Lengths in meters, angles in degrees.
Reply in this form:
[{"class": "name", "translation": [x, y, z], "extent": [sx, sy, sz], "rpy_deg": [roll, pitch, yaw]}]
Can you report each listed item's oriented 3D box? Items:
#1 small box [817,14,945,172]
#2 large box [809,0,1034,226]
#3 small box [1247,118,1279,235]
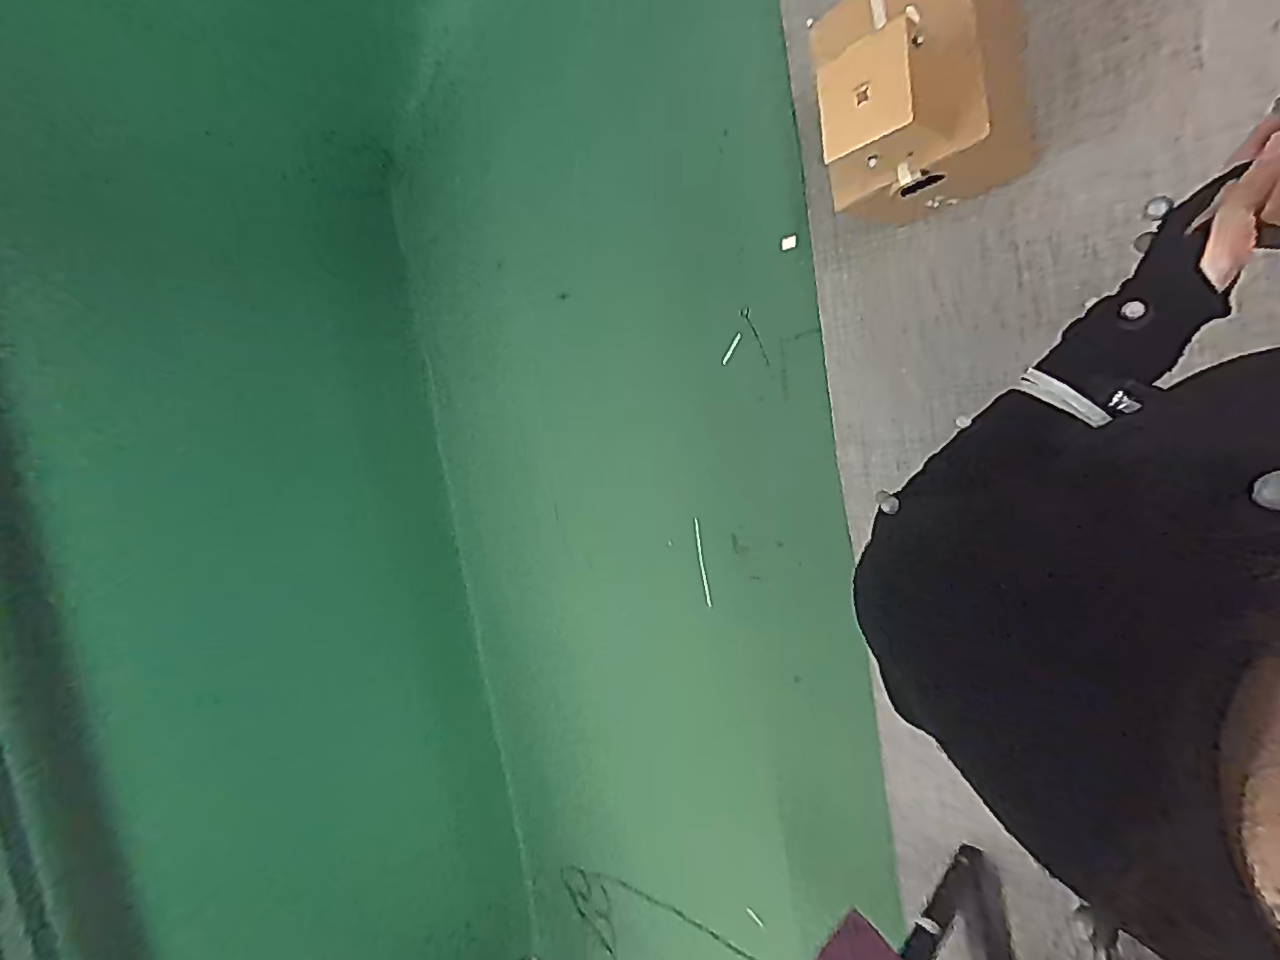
[{"class": "small box", "translation": [0.459, -0.710, 1.023], "extent": [0.168, 0.176, 0.179], "rpy_deg": [0, 99, 48]}, {"class": "large box", "translation": [0.617, -0.837, 1.186], "extent": [0.320, 0.320, 0.408], "rpy_deg": [-5, 95, 50]}, {"class": "small box", "translation": [0.452, -0.220, 0.261], "extent": [0.168, 0.176, 0.179], "rpy_deg": [23, 109, 36]}]
